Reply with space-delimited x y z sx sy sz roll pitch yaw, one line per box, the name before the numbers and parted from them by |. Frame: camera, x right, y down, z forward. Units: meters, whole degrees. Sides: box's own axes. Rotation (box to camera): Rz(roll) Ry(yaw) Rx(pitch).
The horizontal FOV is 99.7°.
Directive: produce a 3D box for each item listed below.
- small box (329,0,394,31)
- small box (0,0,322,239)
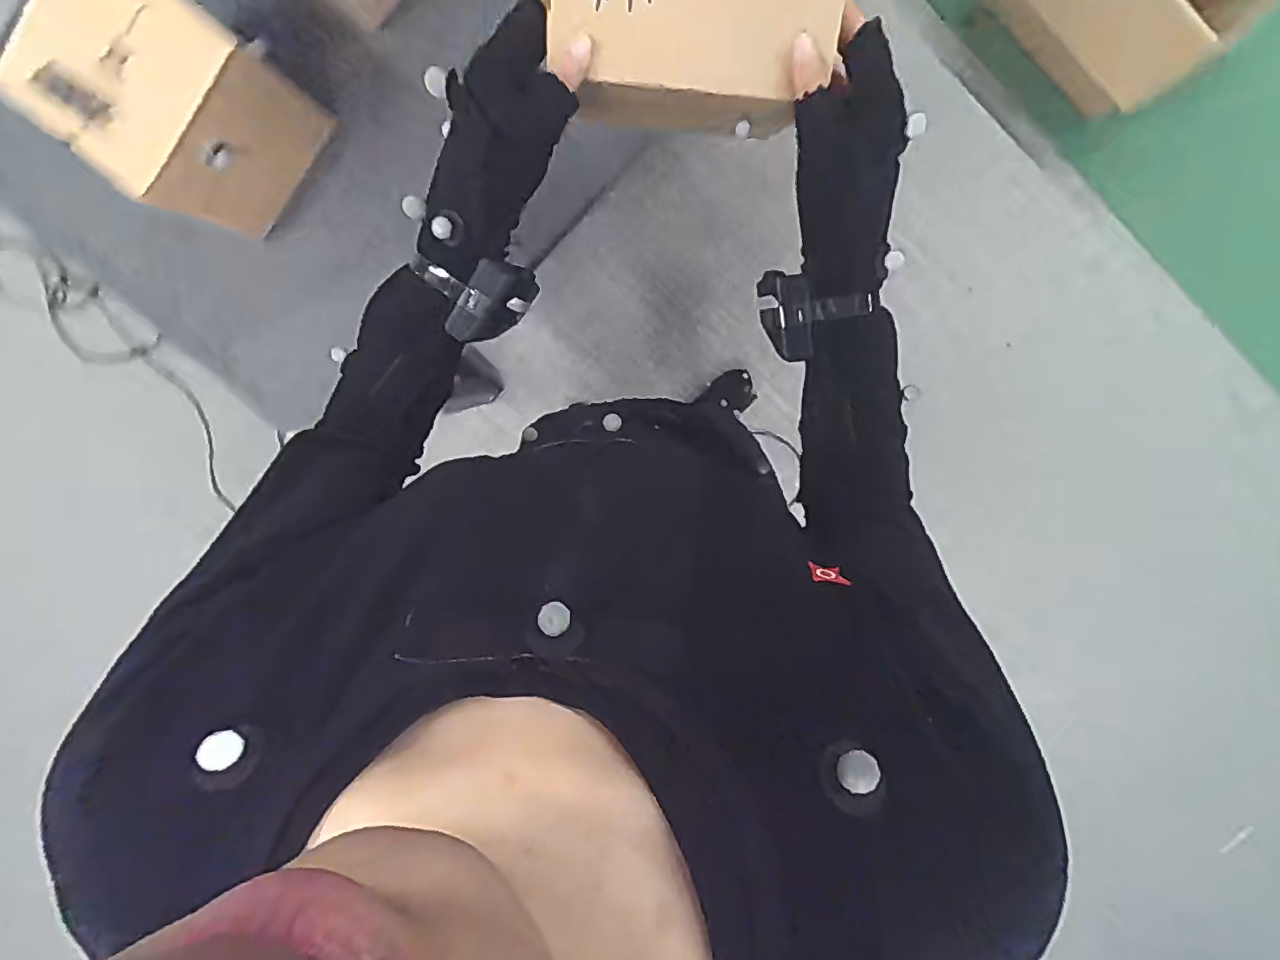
small box | -0.318 -0.618 0.532 0.168 0.176 0.179 44 99 -7
small box | -0.492 -0.395 0.584 0.168 0.176 0.179 39 99 -6
